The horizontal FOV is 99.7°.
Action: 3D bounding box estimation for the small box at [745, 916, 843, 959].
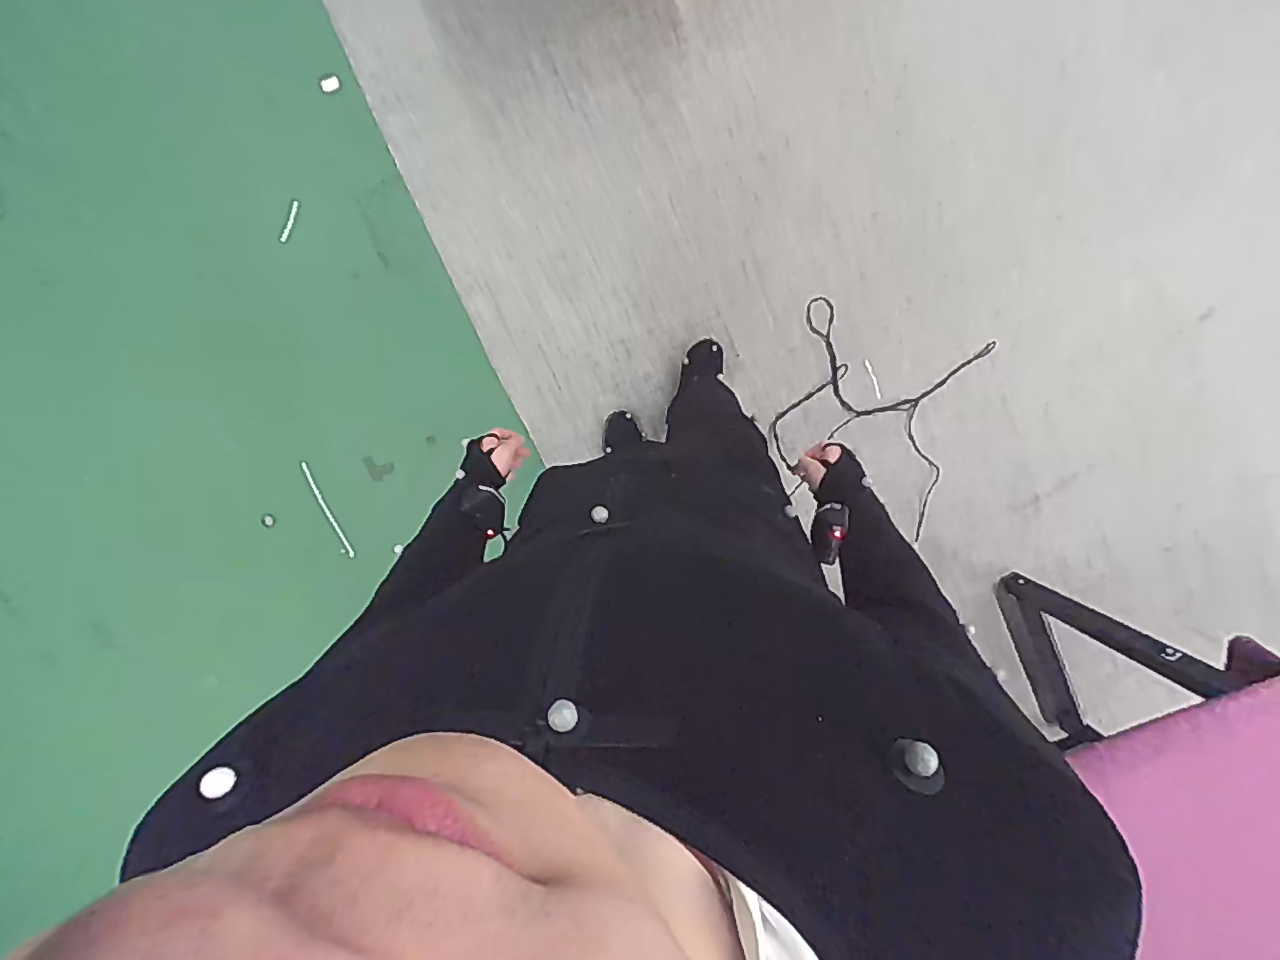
[{"bbox_3d":[0.306,0.942,0.961,0.168,0.176,0.179,-25,99,2],"label":"small box"}]
